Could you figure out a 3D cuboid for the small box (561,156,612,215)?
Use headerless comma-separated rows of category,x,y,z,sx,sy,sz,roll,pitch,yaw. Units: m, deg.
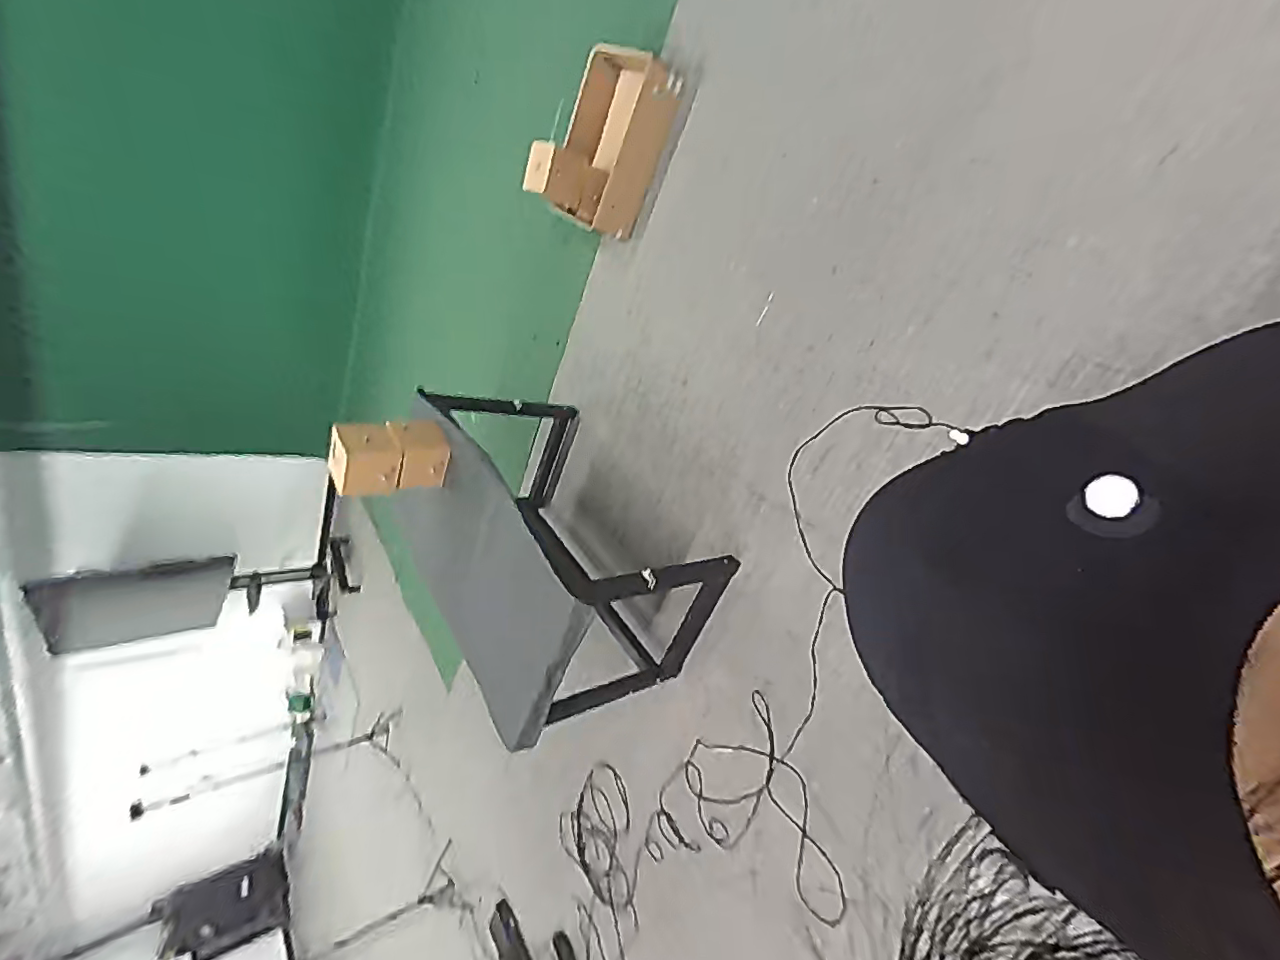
small box,-0.242,-1.227,2.235,0.168,0.176,0.179,45,122,34

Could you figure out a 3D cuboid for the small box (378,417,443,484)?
small box,-0.805,-0.101,1.870,0.179,0.176,0.168,47,125,33

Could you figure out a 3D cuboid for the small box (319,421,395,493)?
small box,-0.920,-0.076,1.755,0.179,0.176,0.168,45,124,33

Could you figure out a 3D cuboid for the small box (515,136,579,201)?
small box,-0.361,-1.219,2.122,0.168,0.176,0.179,33,112,38
